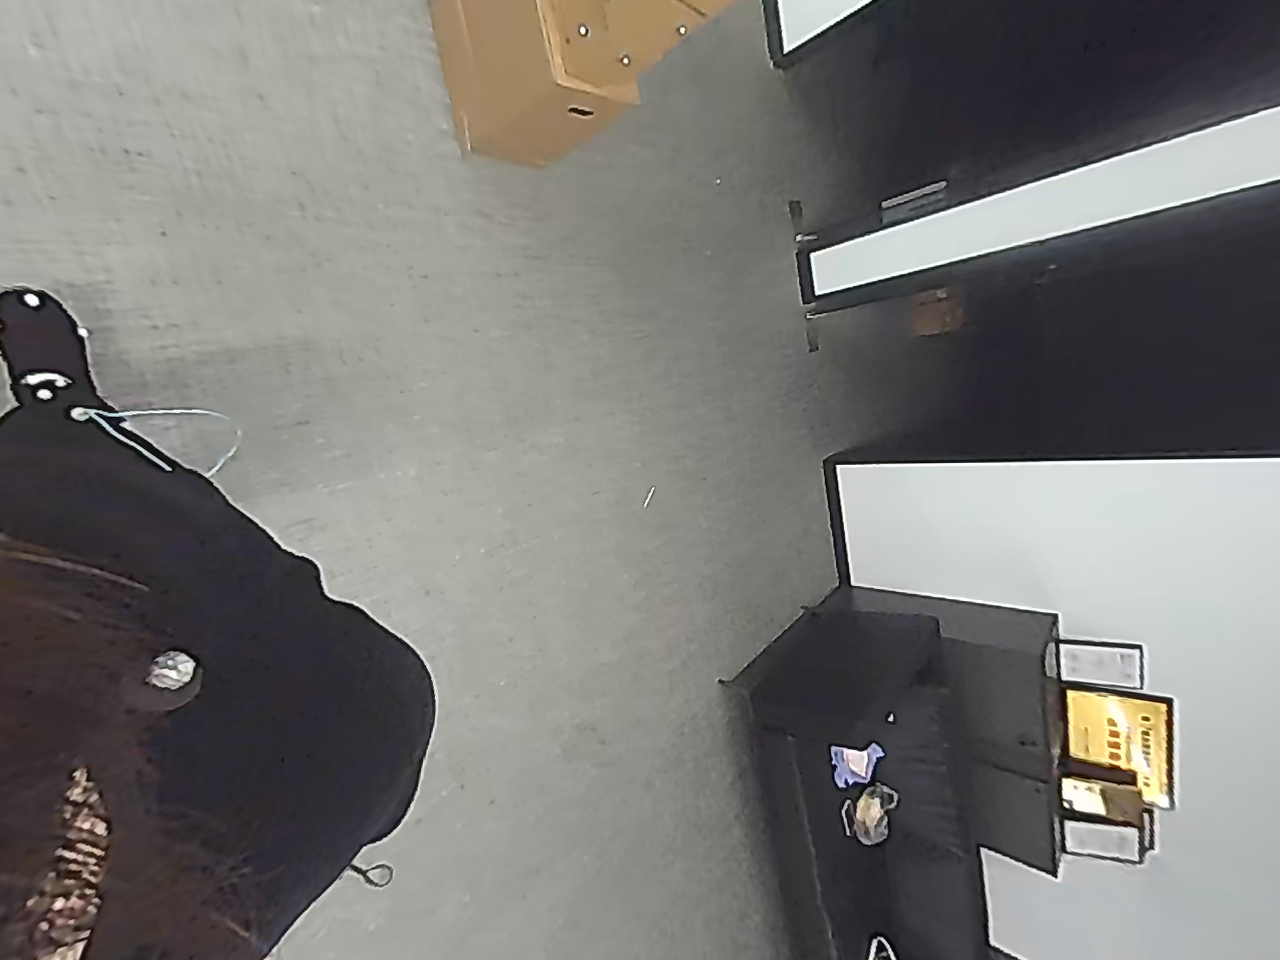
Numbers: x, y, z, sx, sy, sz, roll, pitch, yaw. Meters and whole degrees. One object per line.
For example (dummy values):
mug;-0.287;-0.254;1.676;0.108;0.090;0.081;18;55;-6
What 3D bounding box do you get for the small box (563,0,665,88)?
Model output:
small box;-0.067;-1.087;1.299;0.179;0.176;0.168;-18;103;-43
